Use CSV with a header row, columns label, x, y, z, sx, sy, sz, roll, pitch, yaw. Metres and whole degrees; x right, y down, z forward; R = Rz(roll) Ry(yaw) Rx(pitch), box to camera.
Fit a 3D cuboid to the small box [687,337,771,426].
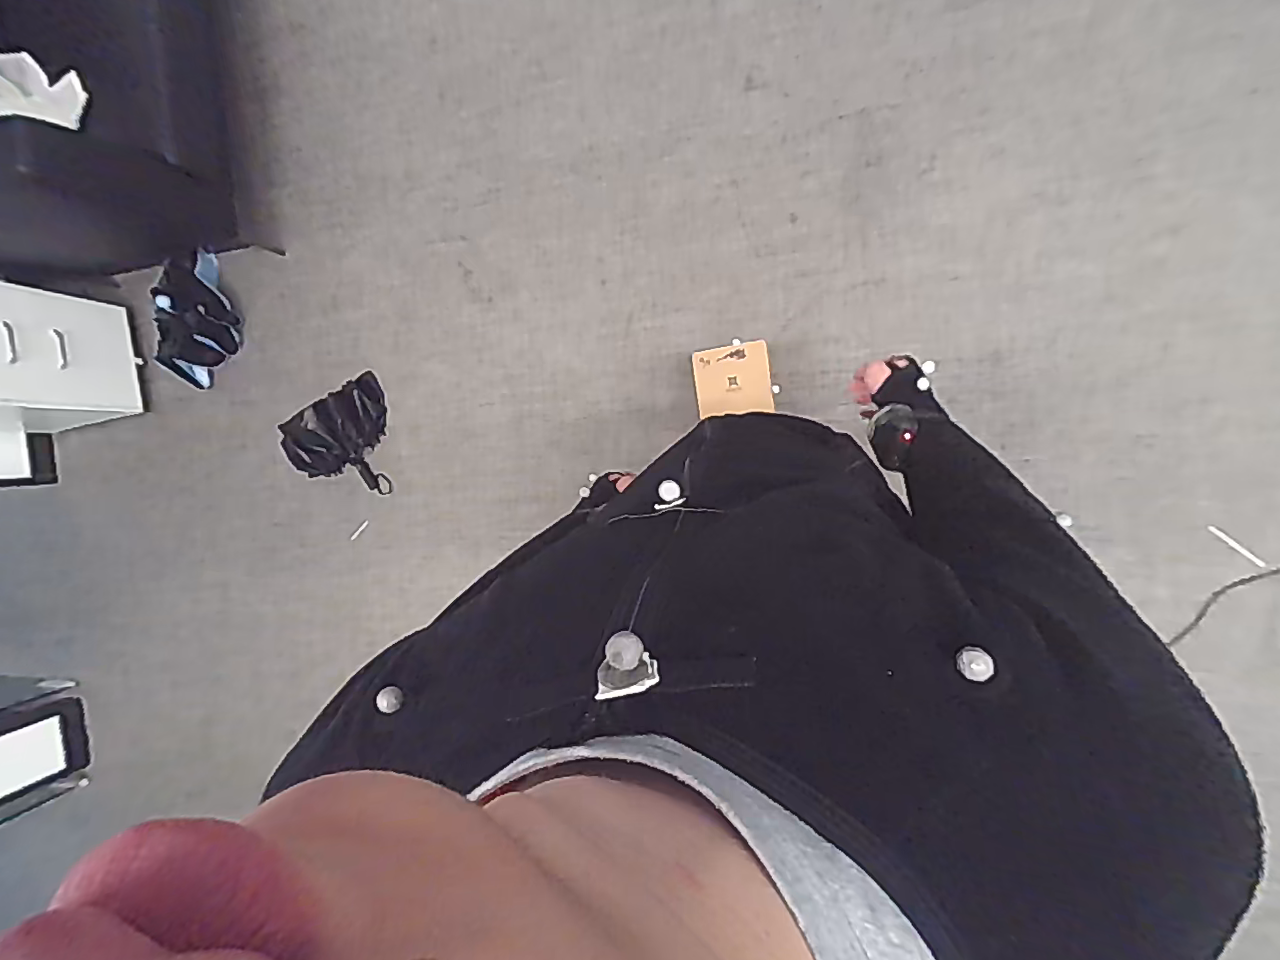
label,x,y,z,sx,sy,sz,roll,pitch,yaw
small box,0.215,-0.225,1.277,0.168,0.176,0.179,-7,93,16
